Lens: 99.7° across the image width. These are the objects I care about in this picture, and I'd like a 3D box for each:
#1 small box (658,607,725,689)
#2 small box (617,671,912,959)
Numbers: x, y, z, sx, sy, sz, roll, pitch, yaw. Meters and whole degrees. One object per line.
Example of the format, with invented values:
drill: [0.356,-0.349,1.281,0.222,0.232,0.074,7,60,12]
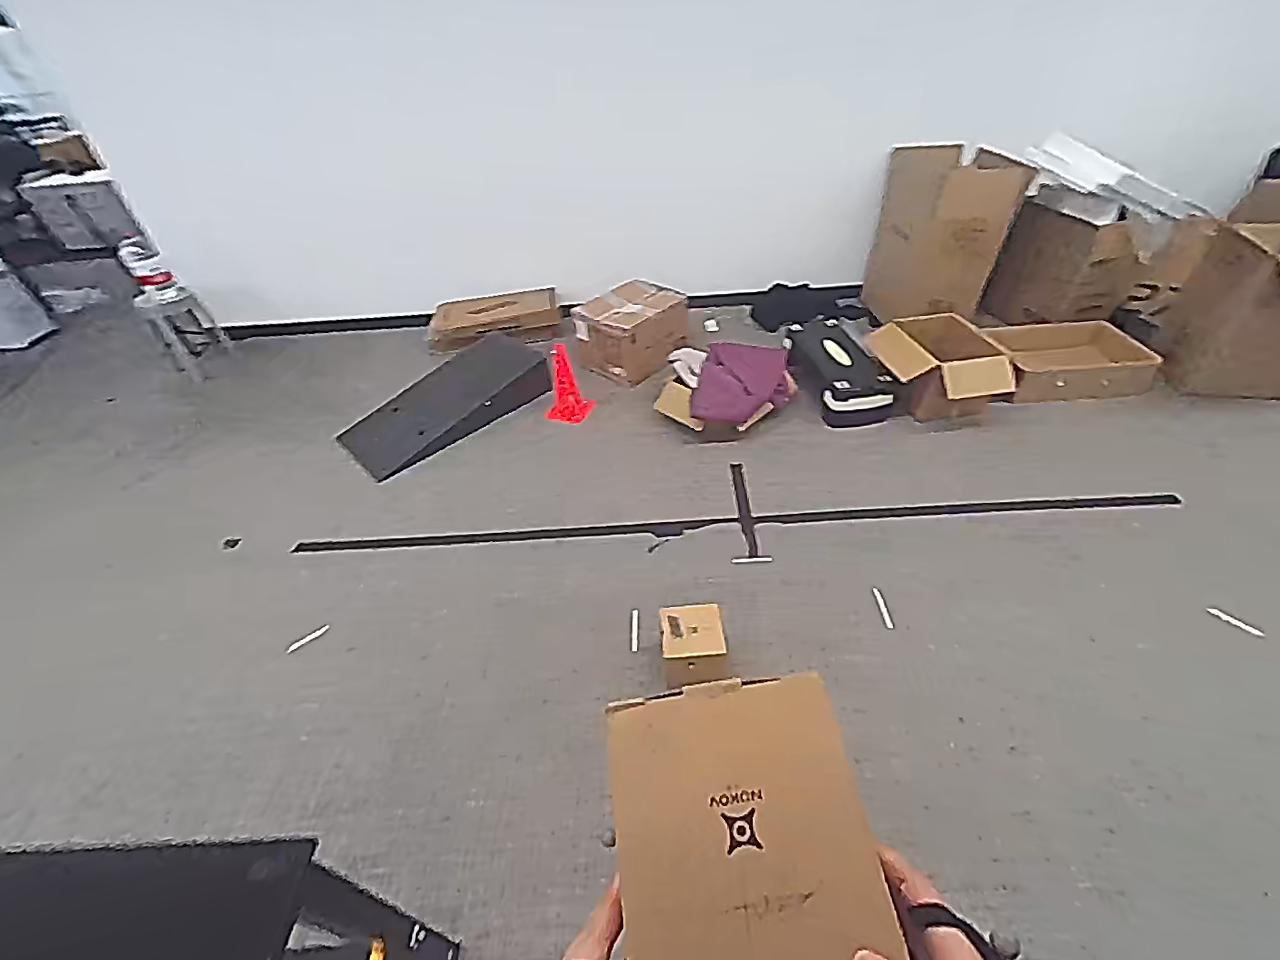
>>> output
small box: [0.149,0.496,1.587,0.179,0.176,0.168,-5,41,0]
small box: [0.074,0.269,0.426,0.168,0.176,0.179,-7,57,-1]
